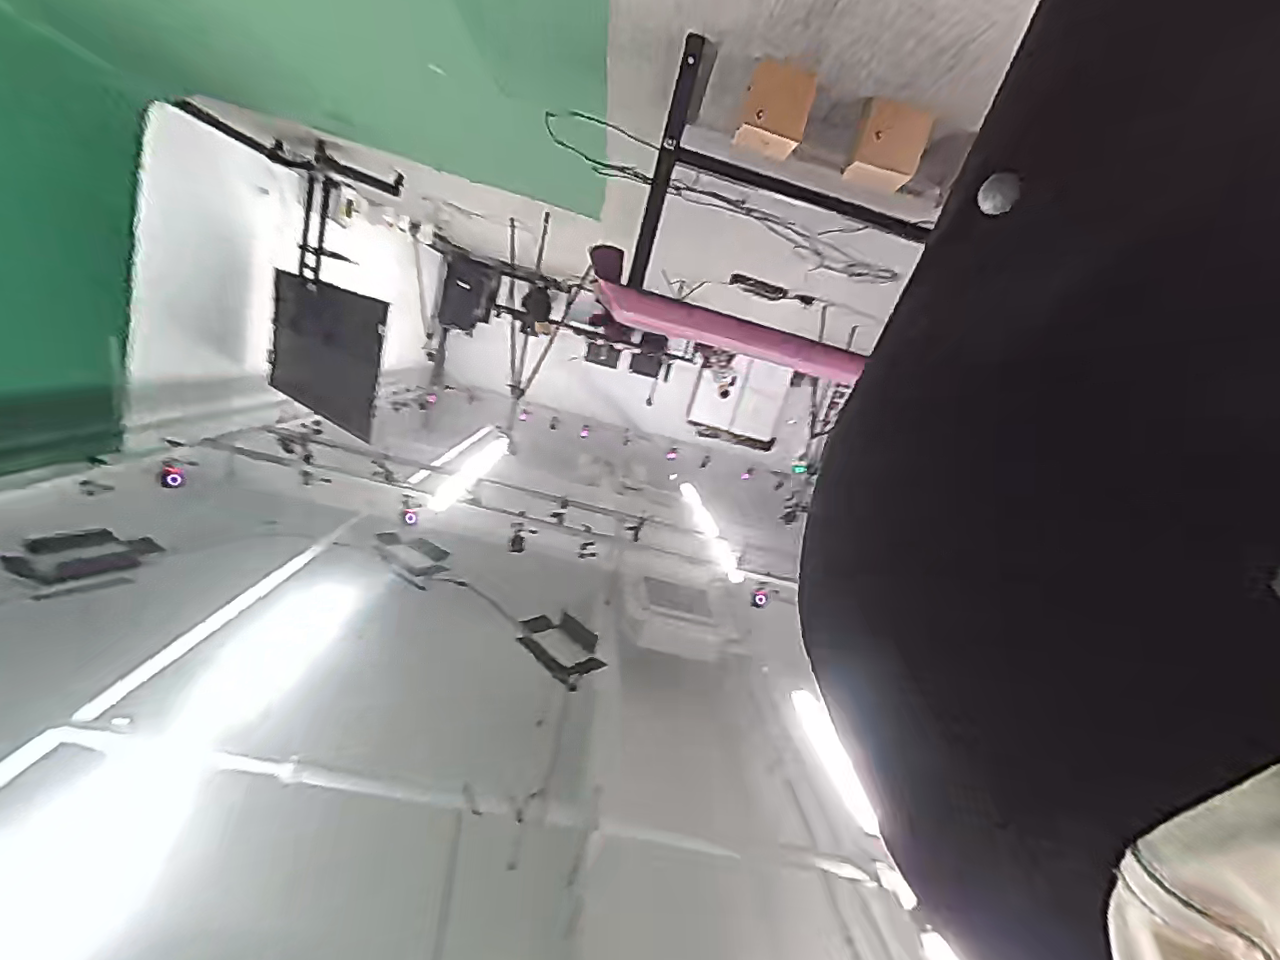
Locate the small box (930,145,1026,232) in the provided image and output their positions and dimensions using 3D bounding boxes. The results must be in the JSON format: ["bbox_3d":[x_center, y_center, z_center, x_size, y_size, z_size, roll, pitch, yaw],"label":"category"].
[{"bbox_3d":[1.016,-0.874,1.624,0.168,0.176,0.179,17,-168,1],"label":"small box"}]

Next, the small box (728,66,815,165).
[{"bbox_3d":[0.380,-1.053,1.568,0.179,0.176,0.168,16,-168,-8],"label":"small box"}]

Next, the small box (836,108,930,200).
[{"bbox_3d":[0.711,-0.959,1.593,0.179,0.176,0.168,16,-167,0],"label":"small box"}]
